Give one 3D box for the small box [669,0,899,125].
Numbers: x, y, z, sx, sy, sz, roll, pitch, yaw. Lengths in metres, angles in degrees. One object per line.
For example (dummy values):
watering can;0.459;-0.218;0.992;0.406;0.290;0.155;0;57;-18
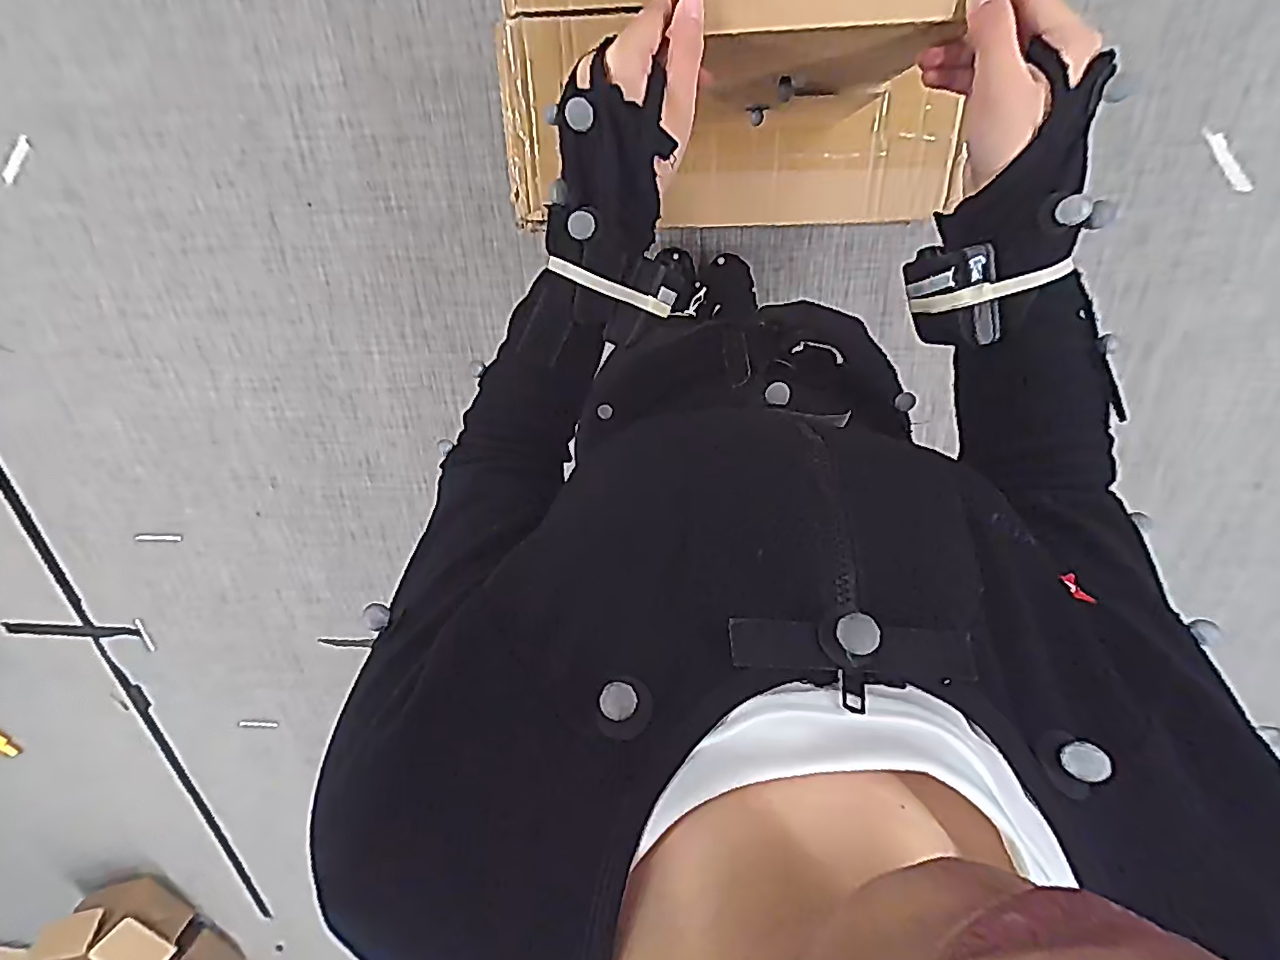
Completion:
small box;0.117;-0.423;0.476;0.179;0.176;0.168;1;116;4
